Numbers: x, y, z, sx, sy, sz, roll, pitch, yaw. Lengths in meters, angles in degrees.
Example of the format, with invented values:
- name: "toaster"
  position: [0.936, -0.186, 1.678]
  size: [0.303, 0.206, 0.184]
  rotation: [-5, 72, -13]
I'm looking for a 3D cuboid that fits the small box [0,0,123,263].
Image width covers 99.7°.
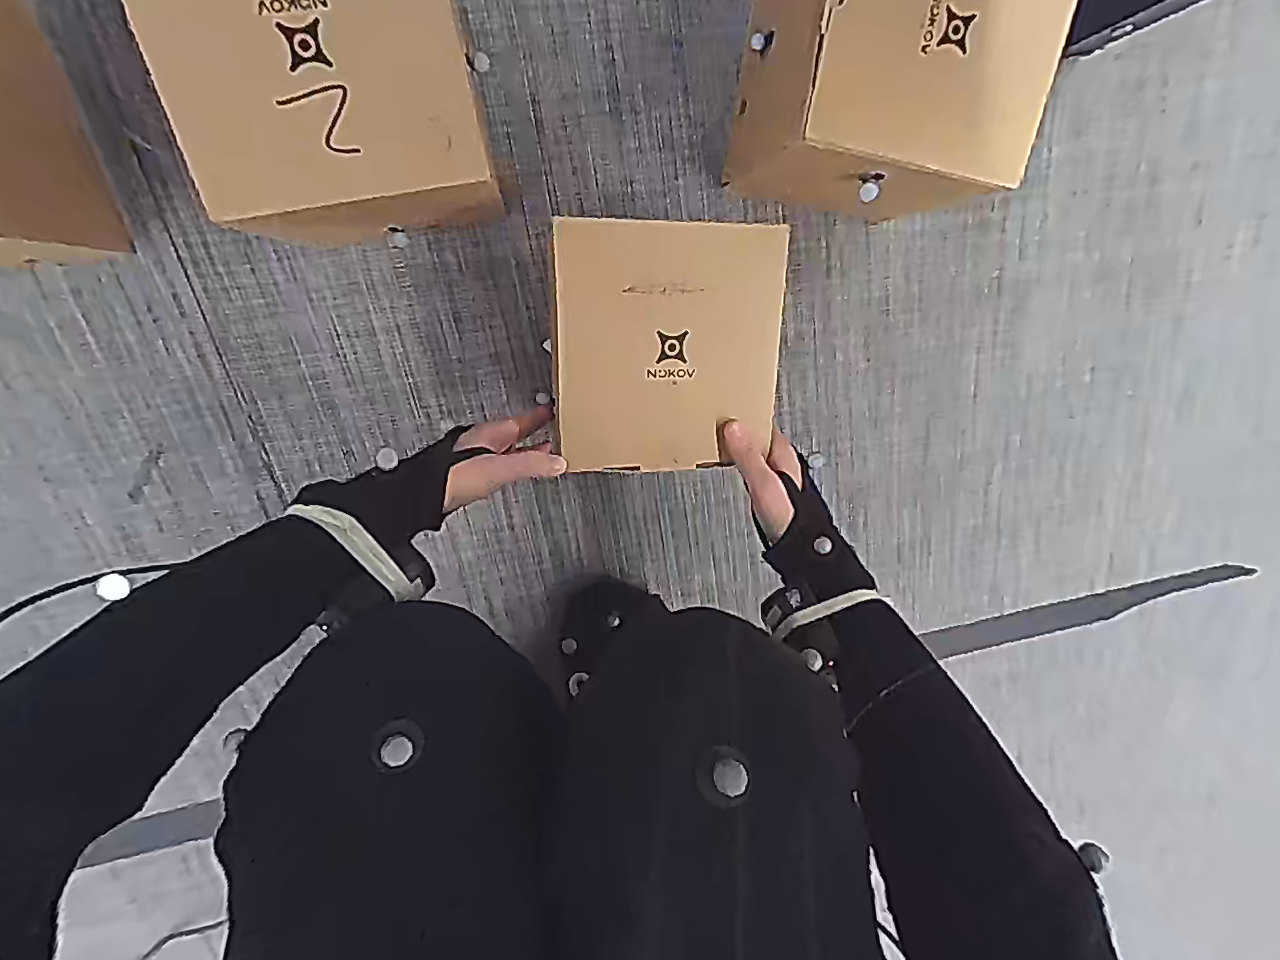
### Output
- name: "small box"
  position: [-0.486, -0.228, 0.328]
  size: [0.168, 0.176, 0.179]
  rotation: [-10, 108, -7]

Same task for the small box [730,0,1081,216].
- name: "small box"
  position: [0.192, -0.319, 0.430]
  size: [0.179, 0.176, 0.168]
  rotation: [5, 107, -12]
